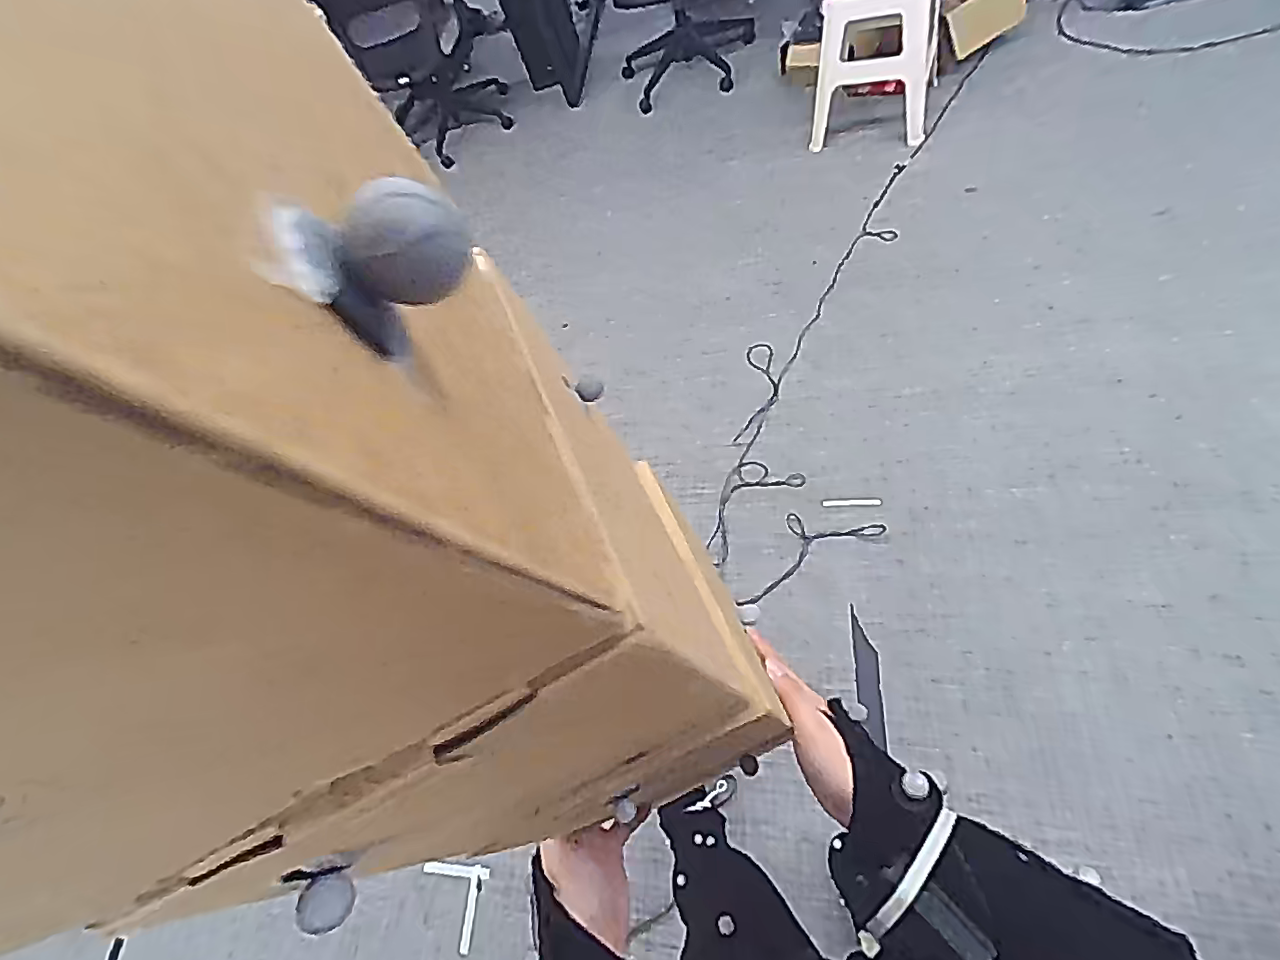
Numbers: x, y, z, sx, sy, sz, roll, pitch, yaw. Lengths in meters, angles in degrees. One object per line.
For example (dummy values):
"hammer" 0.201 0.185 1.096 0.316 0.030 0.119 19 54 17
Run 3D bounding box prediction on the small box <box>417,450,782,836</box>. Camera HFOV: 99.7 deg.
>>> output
"small box" -0.020 0.117 0.375 0.179 0.176 0.168 -28 58 4
